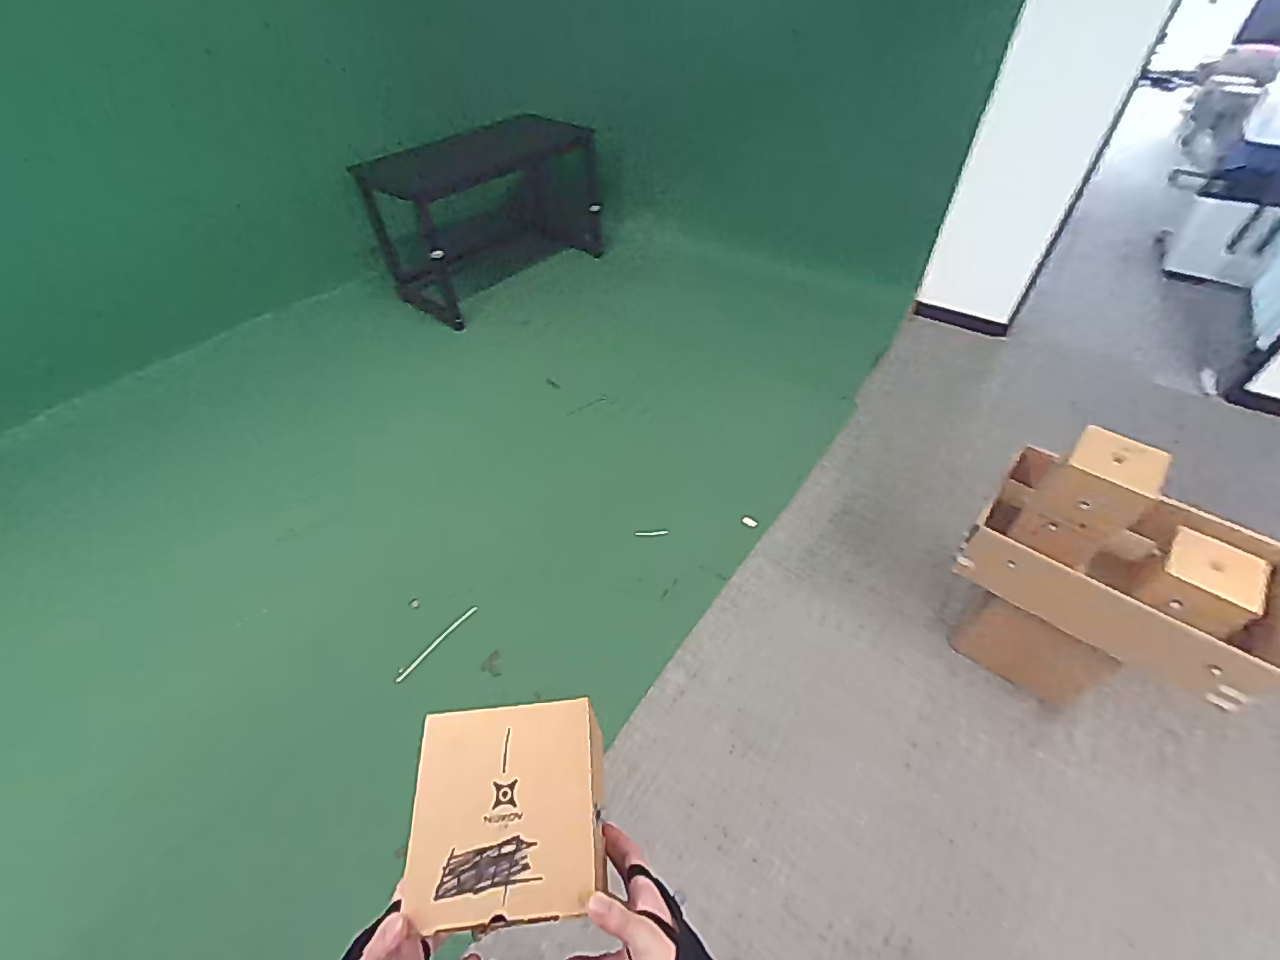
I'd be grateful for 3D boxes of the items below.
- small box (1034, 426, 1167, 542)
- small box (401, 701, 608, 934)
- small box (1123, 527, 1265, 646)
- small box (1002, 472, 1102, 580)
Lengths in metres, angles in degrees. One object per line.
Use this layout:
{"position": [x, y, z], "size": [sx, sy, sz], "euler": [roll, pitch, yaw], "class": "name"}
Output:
{"position": [1.067, 0.012, 1.266], "size": [0.168, 0.176, 0.179], "euler": [33, 57, 28], "class": "small box"}
{"position": [-0.122, 0.346, 0.562], "size": [0.168, 0.176, 0.179], "euler": [-4, 53, -2], "class": "small box"}
{"position": [1.282, 0.252, 1.261], "size": [0.168, 0.176, 0.179], "euler": [32, 55, 28], "class": "small box"}
{"position": [1.074, 0.119, 1.392], "size": [0.168, 0.176, 0.179], "euler": [33, 56, 30], "class": "small box"}
